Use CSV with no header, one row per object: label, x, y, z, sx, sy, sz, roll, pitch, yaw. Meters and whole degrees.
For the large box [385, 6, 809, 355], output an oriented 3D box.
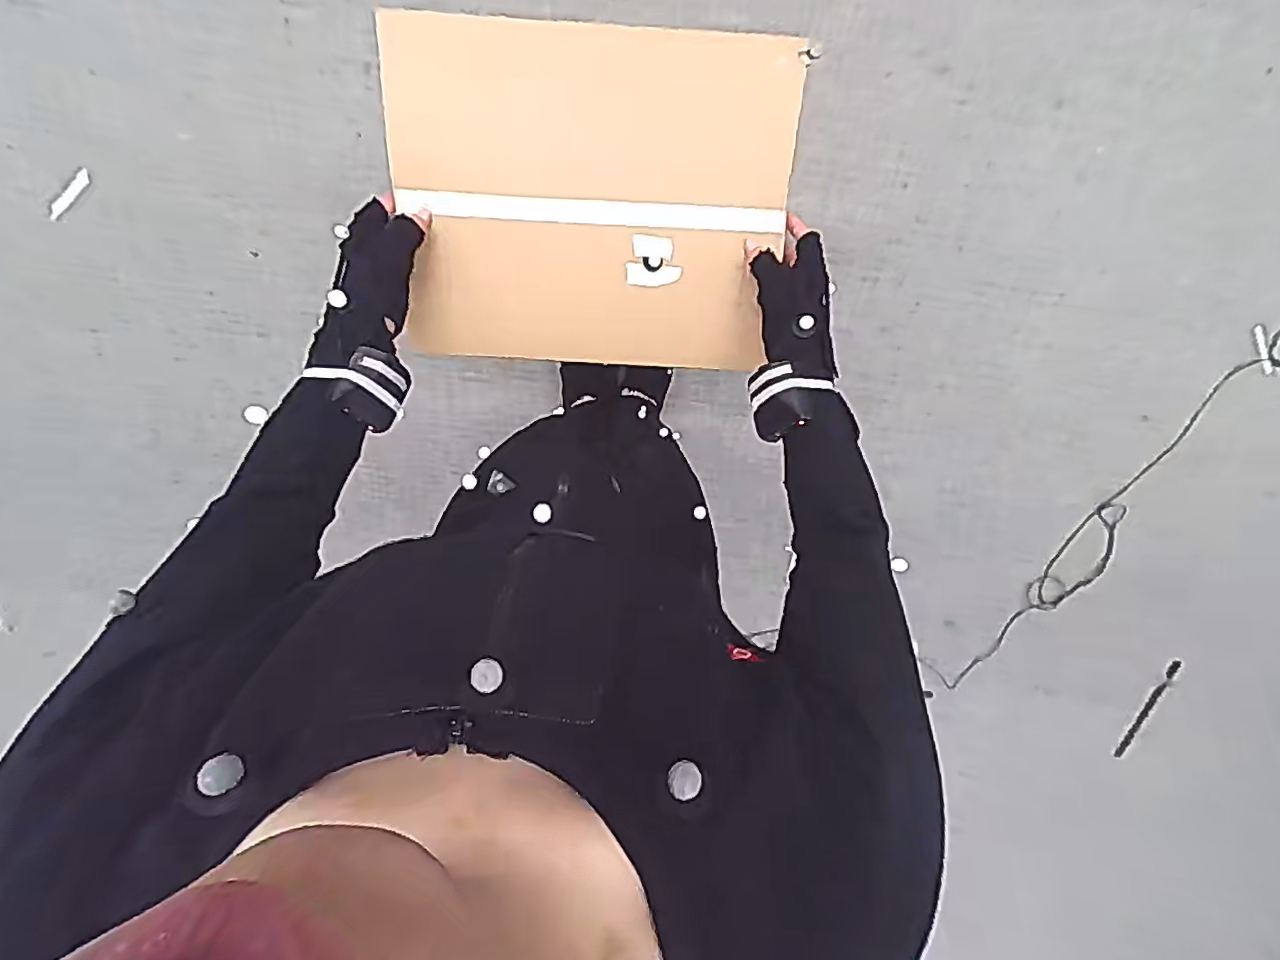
large box,-0.047,-0.346,0.697,0.408,0.320,0.320,2,114,-2
